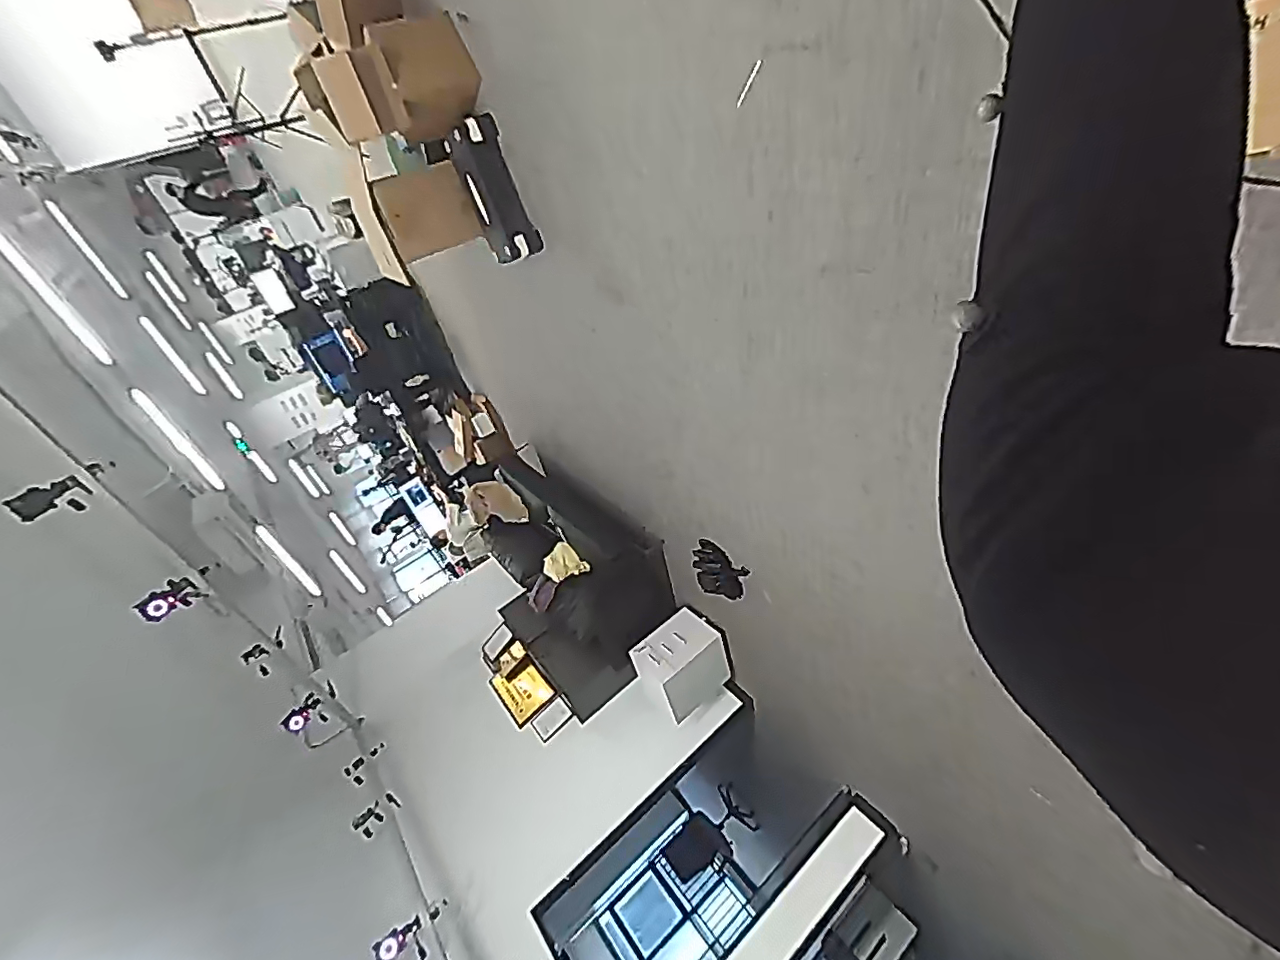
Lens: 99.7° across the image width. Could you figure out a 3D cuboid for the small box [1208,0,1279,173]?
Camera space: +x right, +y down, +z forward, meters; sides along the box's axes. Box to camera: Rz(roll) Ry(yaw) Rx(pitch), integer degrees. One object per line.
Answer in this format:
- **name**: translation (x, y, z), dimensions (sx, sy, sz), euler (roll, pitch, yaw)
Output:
- **small box**: translation (0.843, -0.511, 0.657), dimensions (0.168, 0.176, 0.179), euler (20, 138, 58)
